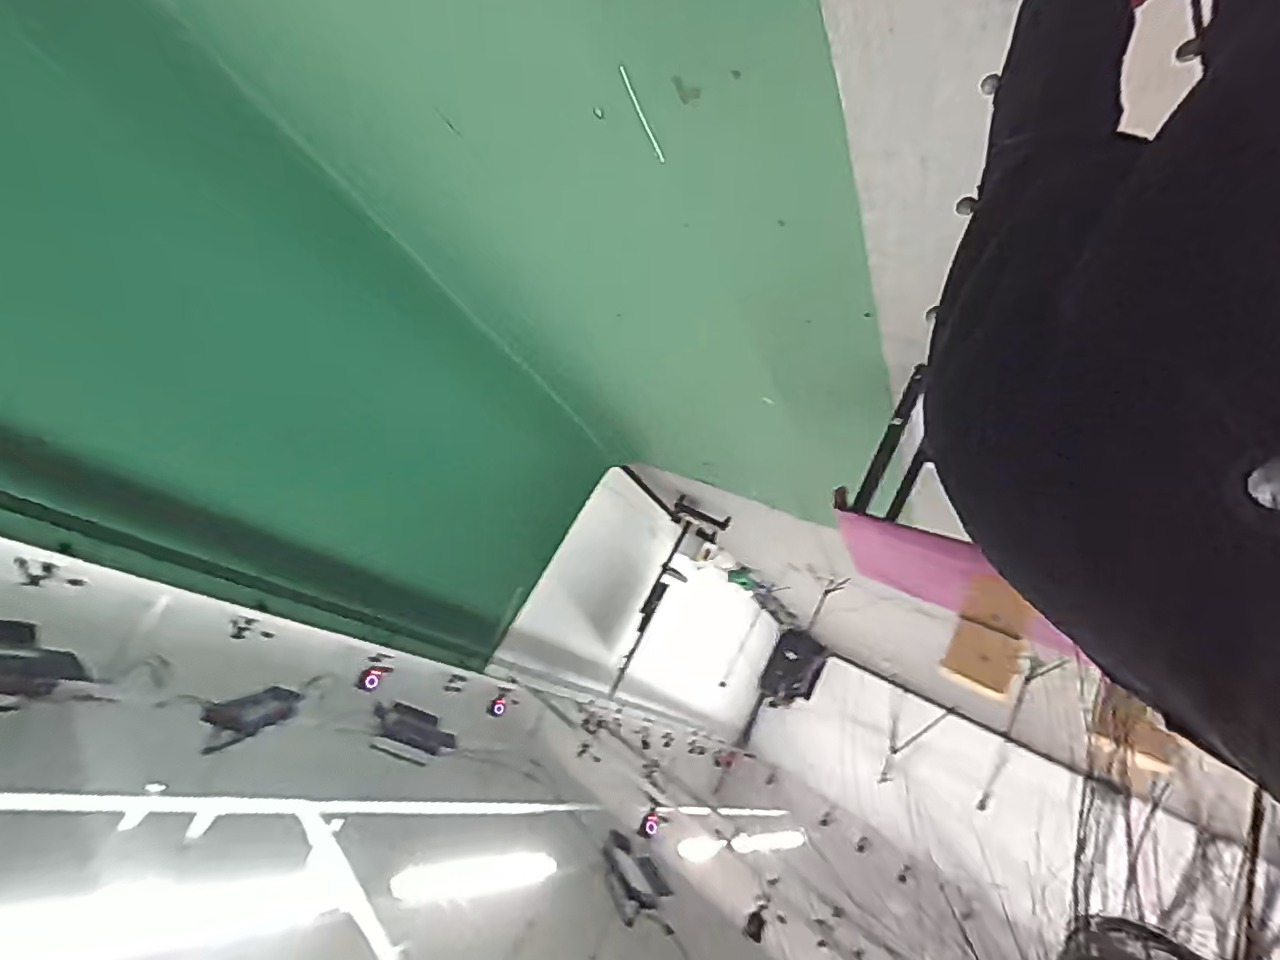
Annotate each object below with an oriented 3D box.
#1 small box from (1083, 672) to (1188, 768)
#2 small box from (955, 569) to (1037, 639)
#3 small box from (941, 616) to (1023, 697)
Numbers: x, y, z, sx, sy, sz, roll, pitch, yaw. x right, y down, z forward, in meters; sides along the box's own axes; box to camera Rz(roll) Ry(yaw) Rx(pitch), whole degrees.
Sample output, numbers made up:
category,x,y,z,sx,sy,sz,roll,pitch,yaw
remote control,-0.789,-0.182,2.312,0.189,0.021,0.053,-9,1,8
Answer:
category,x,y,z,sx,sy,sz,roll,pitch,yaw
small box,1.321,0.640,1.447,0.168,0.176,0.179,19,164,40
small box,1.128,0.405,1.717,0.179,0.176,0.168,22,166,34
small box,1.050,0.541,1.665,0.179,0.176,0.168,20,164,35
